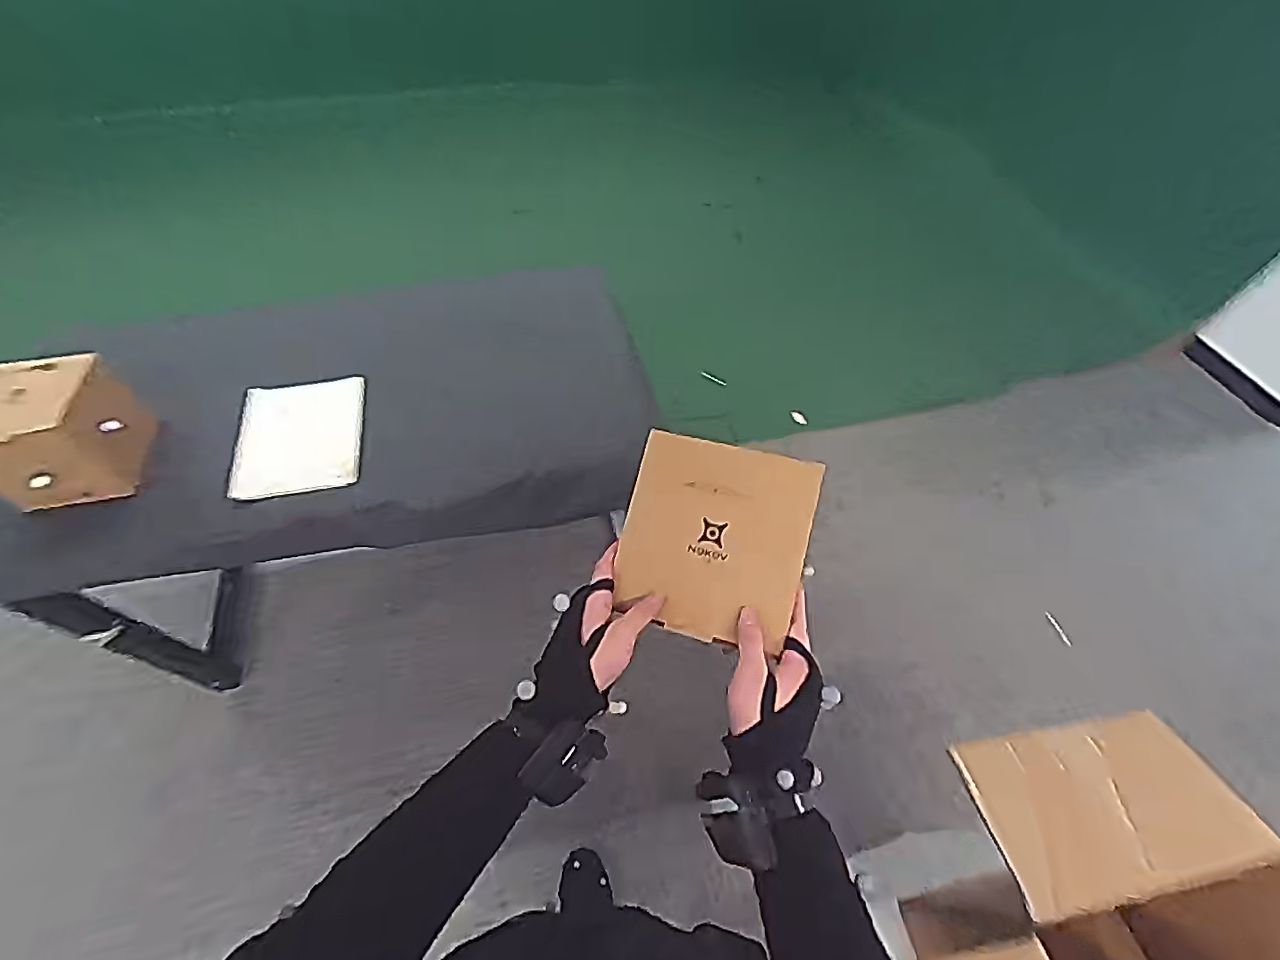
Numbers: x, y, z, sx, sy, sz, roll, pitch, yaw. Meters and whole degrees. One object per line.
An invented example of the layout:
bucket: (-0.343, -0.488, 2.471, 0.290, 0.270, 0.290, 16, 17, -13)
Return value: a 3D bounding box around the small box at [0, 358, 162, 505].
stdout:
small box: (-0.950, -0.073, 0.896, 0.168, 0.176, 0.179, -10, 56, -10)
